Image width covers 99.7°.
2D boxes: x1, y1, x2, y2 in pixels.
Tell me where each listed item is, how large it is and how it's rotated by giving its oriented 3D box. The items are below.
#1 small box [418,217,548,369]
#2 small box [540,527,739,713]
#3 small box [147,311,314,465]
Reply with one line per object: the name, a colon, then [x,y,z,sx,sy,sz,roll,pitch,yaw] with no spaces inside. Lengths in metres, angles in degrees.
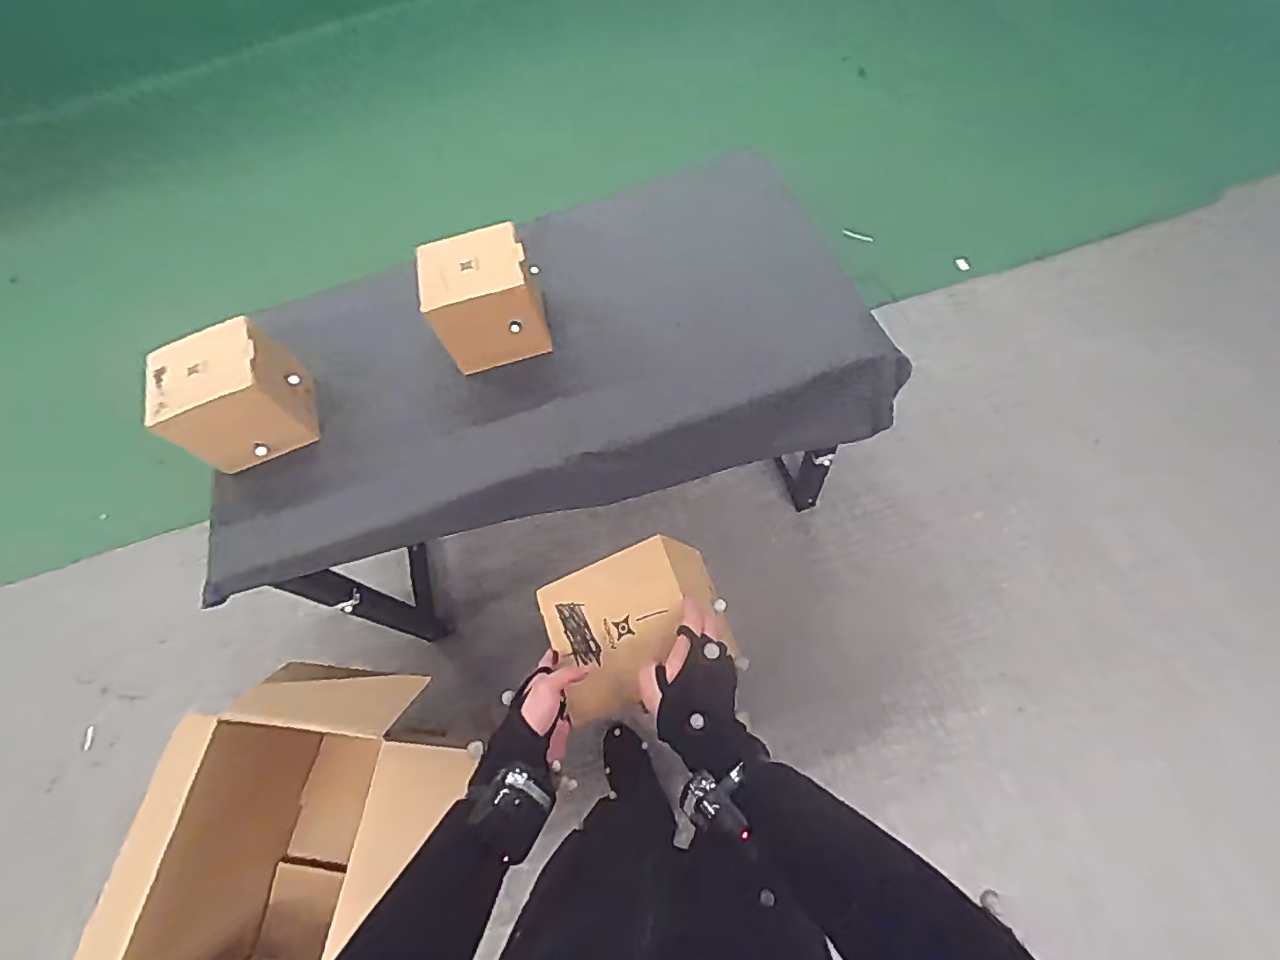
small box: [-0.274,-0.330,0.973,0.179,0.176,0.168,-16,62,1]
small box: [0.005,0.178,0.686,0.179,0.176,0.168,-25,69,14]
small box: [-0.700,-0.154,0.945,0.179,0.176,0.168,-23,63,-4]
